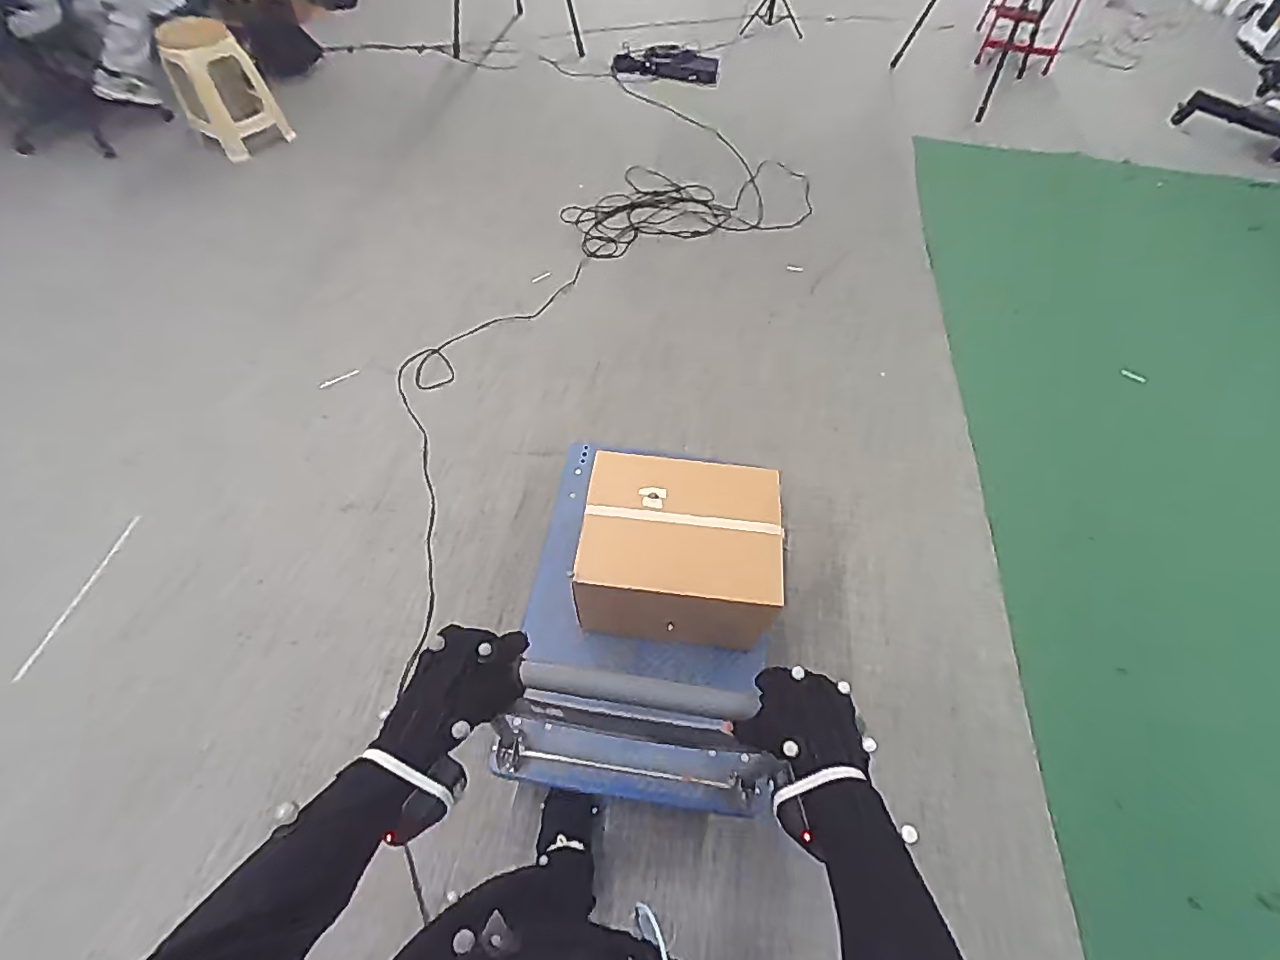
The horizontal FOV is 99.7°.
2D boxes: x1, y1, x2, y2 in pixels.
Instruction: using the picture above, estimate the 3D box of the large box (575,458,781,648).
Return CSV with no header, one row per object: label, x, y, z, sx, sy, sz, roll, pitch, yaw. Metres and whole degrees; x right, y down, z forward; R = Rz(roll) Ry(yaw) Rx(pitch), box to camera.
large box,0.088,0.176,1.238,0.408,0.320,0.320,6,56,4
